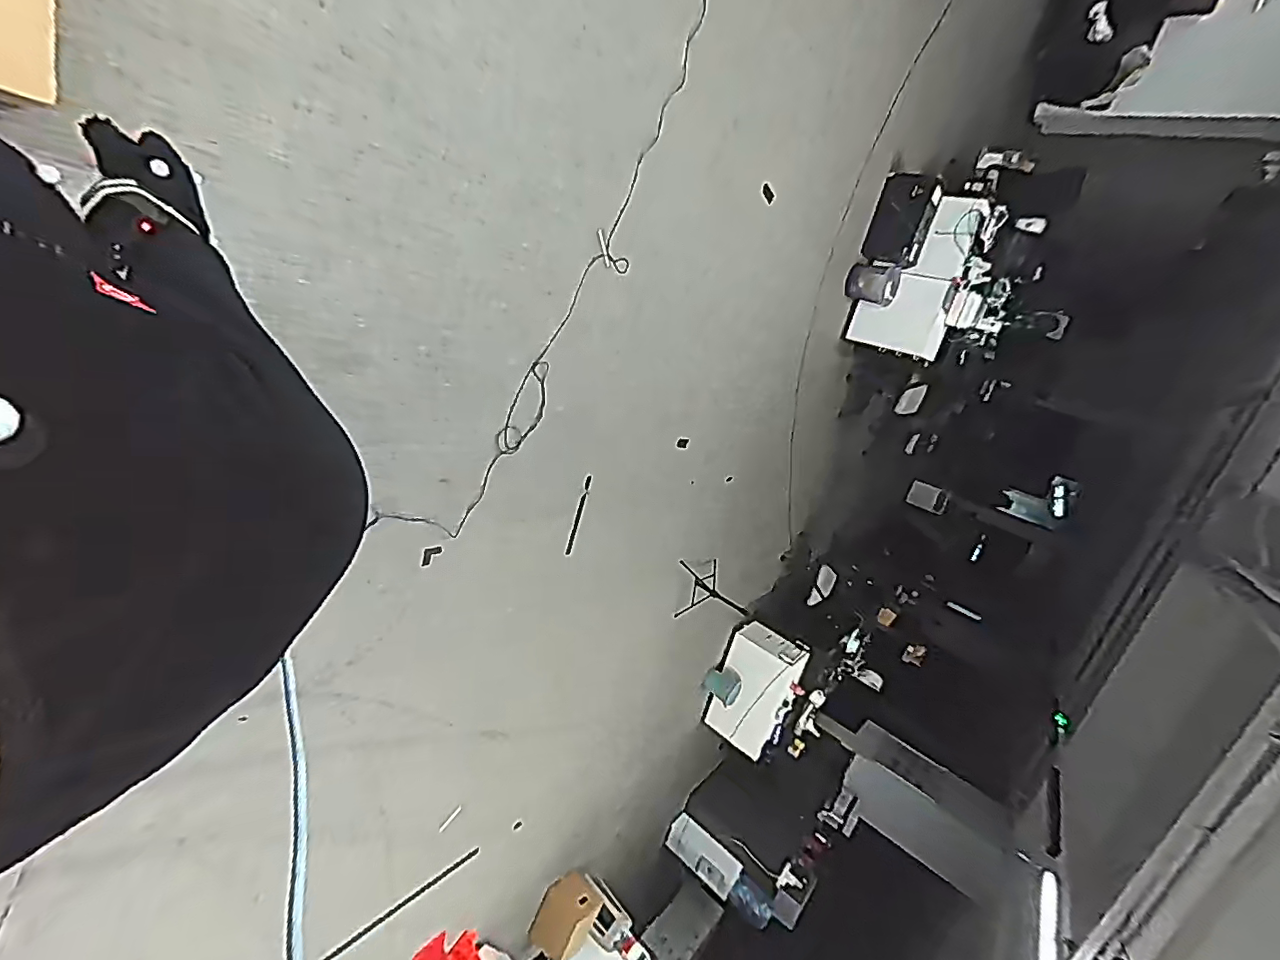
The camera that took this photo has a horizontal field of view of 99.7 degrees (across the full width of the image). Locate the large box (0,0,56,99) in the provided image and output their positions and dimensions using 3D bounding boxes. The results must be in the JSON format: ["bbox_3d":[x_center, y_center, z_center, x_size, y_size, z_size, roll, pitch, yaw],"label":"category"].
[{"bbox_3d":[-1.001,-0.704,0.624,0.408,0.320,0.320,-7,118,-53],"label":"large box"}]
